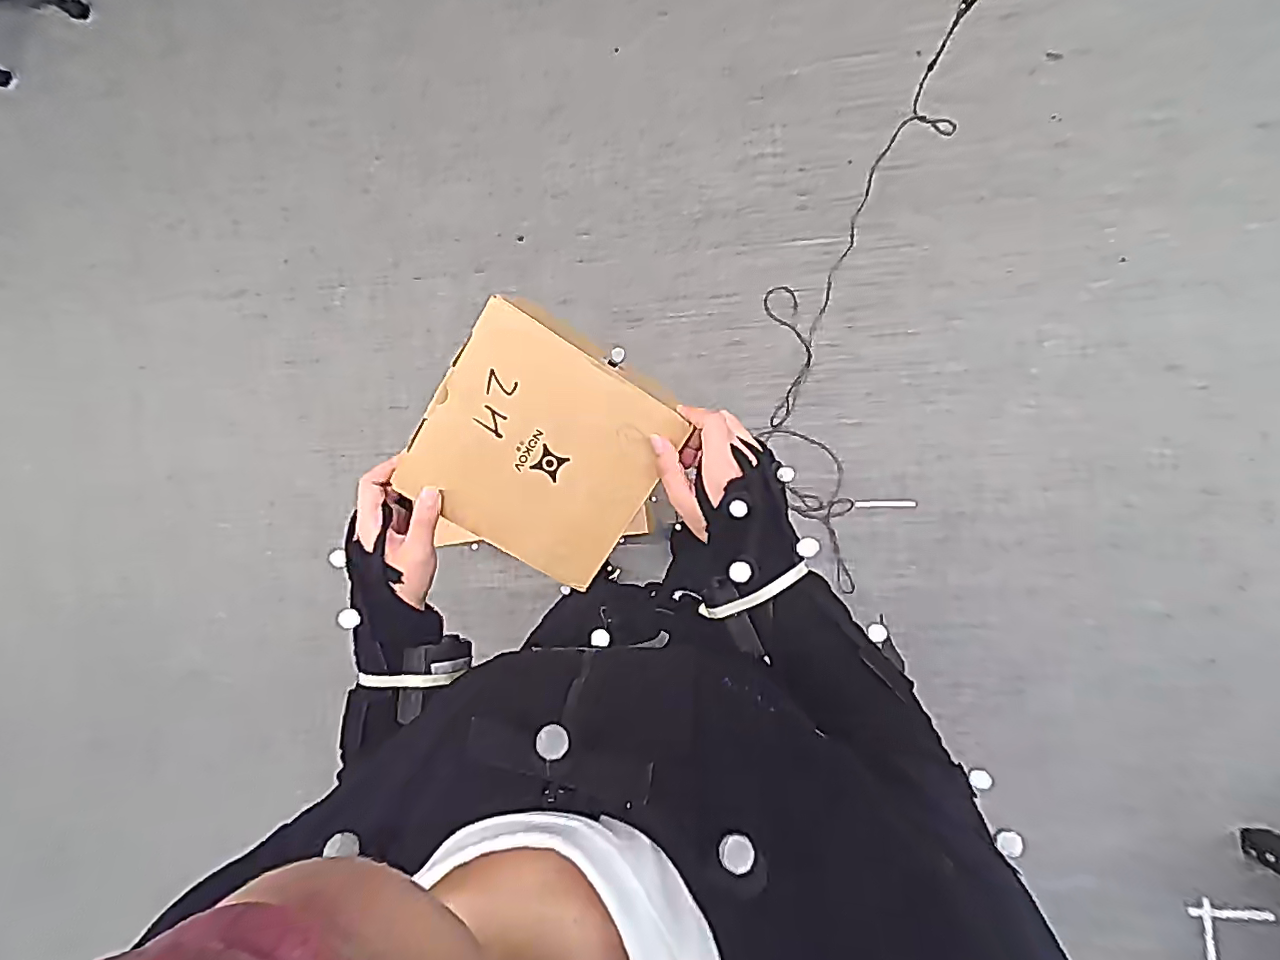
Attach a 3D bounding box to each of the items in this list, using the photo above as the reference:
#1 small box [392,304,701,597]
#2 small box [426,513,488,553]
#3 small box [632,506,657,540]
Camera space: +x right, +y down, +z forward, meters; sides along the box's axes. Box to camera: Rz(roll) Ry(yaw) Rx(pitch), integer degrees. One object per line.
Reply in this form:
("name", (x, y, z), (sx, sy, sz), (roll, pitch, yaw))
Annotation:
("small box", (-0.071, -0.036, 0.473), (0.179, 0.176, 0.168), (30, 102, -9))
("small box", (-0.348, 0.064, 1.192), (0.179, 0.176, 0.168), (-10, 83, 9))
("small box", (-0.056, 0.059, 1.309), (0.168, 0.176, 0.179), (-6, 85, 9))
